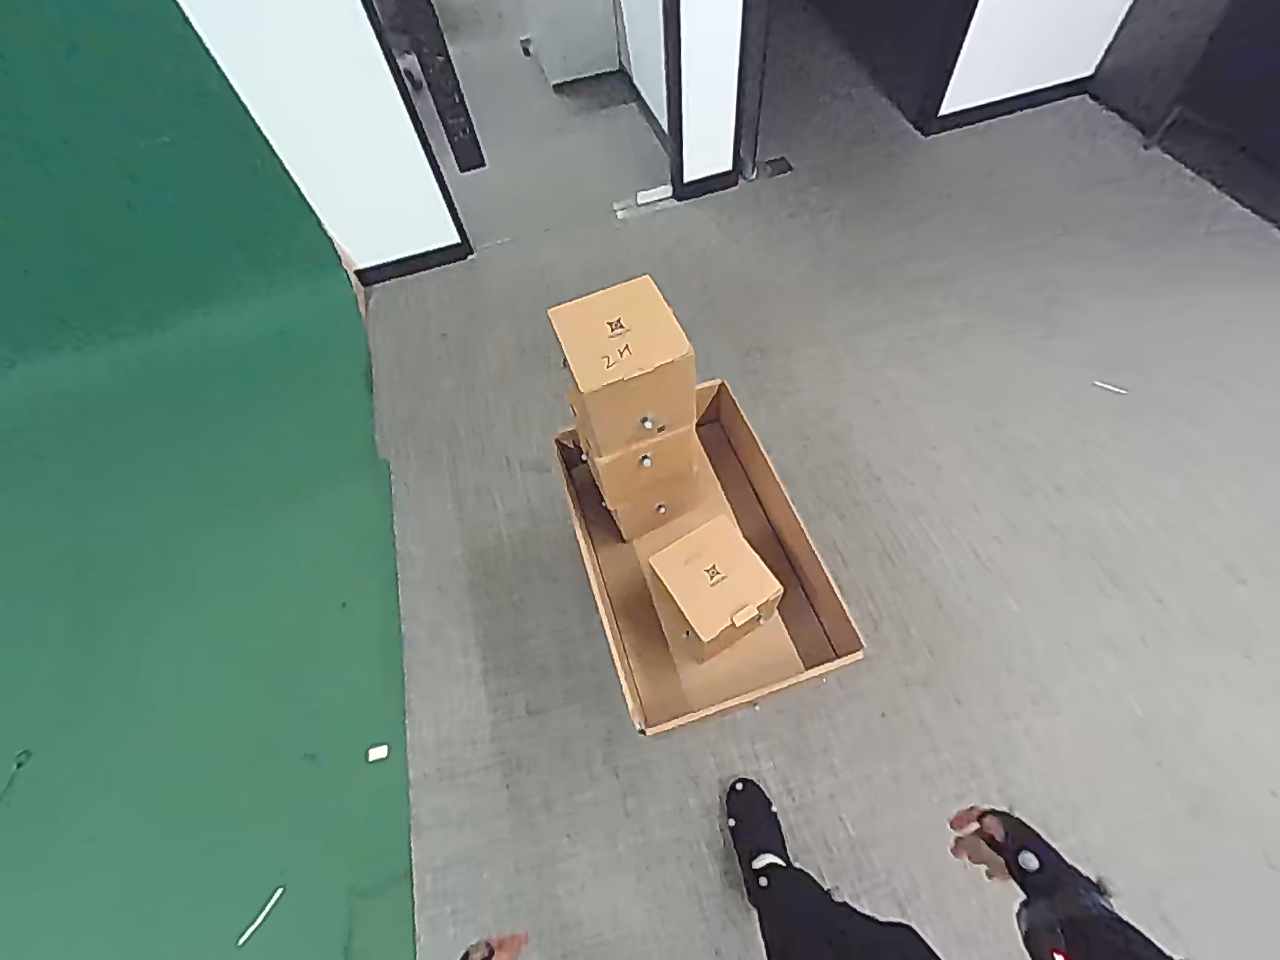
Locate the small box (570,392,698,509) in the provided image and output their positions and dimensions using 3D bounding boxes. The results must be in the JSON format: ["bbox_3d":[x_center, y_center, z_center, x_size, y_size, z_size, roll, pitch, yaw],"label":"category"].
[{"bbox_3d":[-0.008,-0.076,0.977,0.179,0.176,0.168,-23,61,-6],"label":"small box"}]

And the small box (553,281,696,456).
[{"bbox_3d":[-0.021,-0.168,0.840,0.168,0.176,0.179,-21,61,-5],"label":"small box"}]

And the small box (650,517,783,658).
[{"bbox_3d":[0.136,0.206,0.991,0.168,0.176,0.179,-29,61,-12],"label":"small box"}]
